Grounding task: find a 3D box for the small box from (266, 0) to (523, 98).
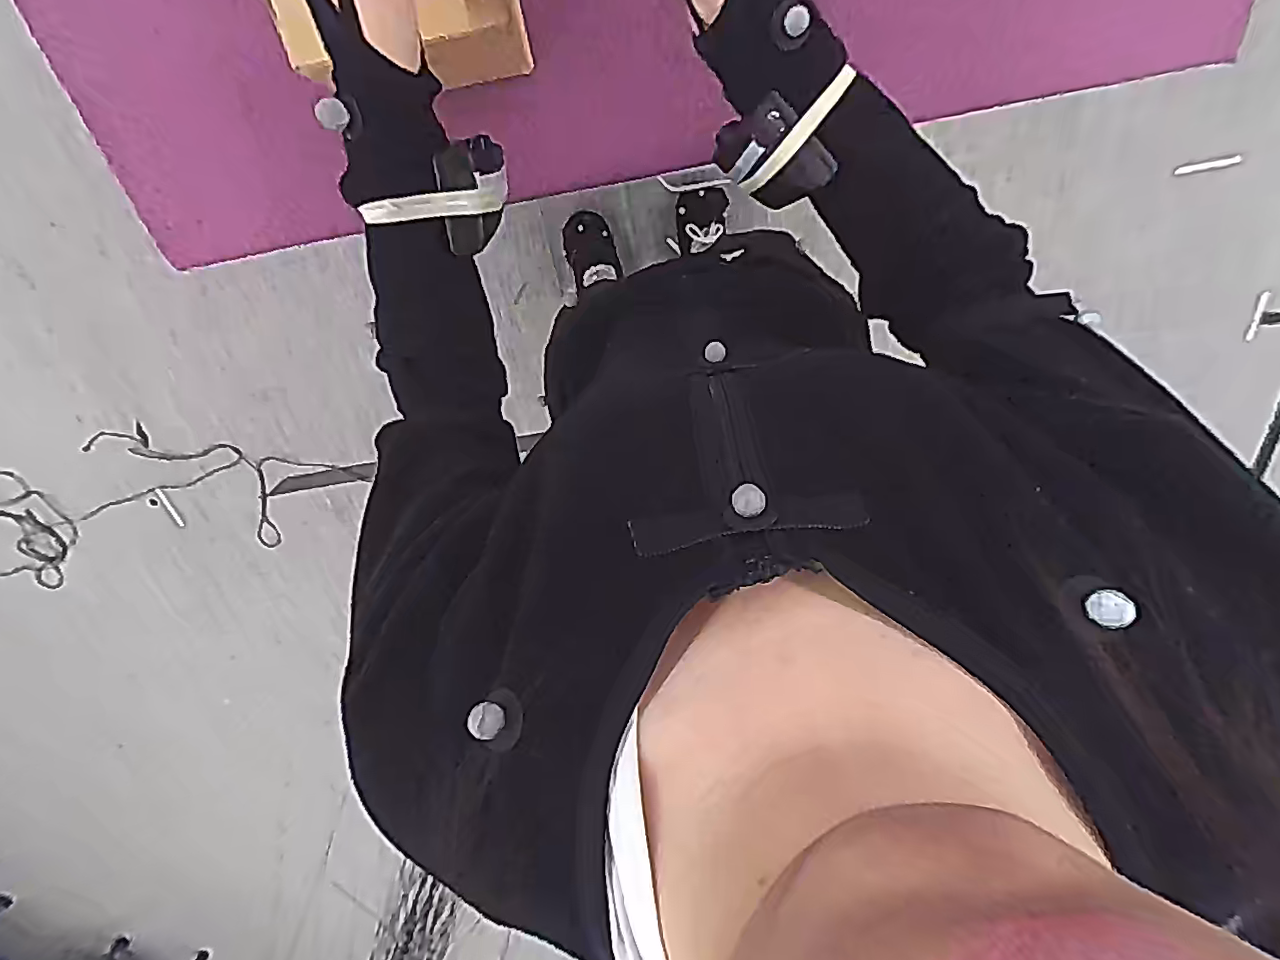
[{"bbox_3d":[-0.204,-0.441,0.451,0.179,0.176,0.168,-10,118,3],"label":"small box"}]
